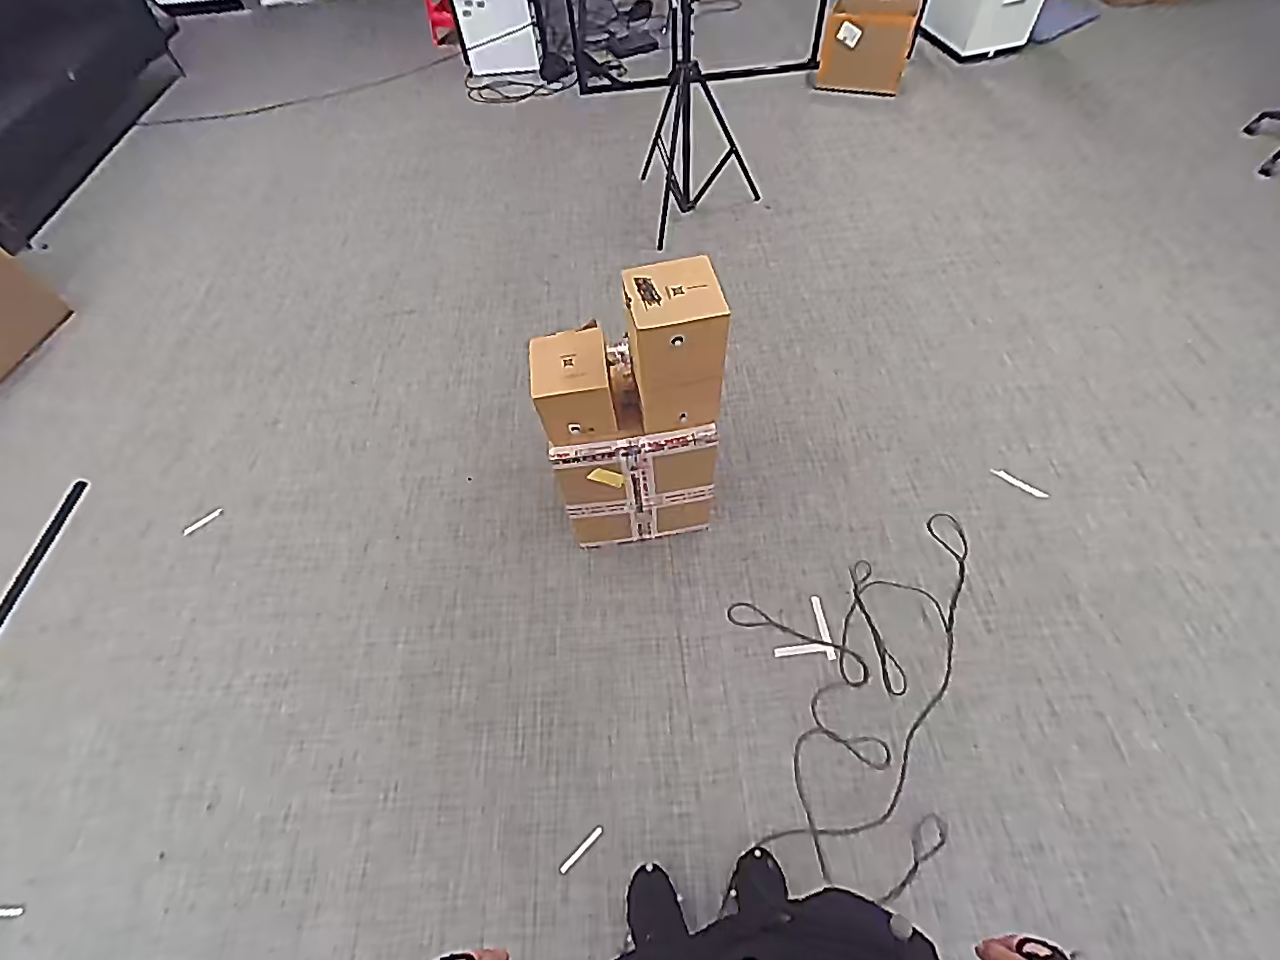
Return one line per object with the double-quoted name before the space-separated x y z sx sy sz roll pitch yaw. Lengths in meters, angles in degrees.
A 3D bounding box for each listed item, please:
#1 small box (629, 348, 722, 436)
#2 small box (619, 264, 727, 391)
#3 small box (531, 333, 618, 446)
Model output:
"small box" 0.074 -0.221 1.228 0.179 0.176 0.168 -12 60 -3
"small box" 0.064 -0.298 1.082 0.179 0.176 0.168 -12 61 -3
"small box" -0.148 -0.203 1.234 0.168 0.176 0.179 -10 61 1
